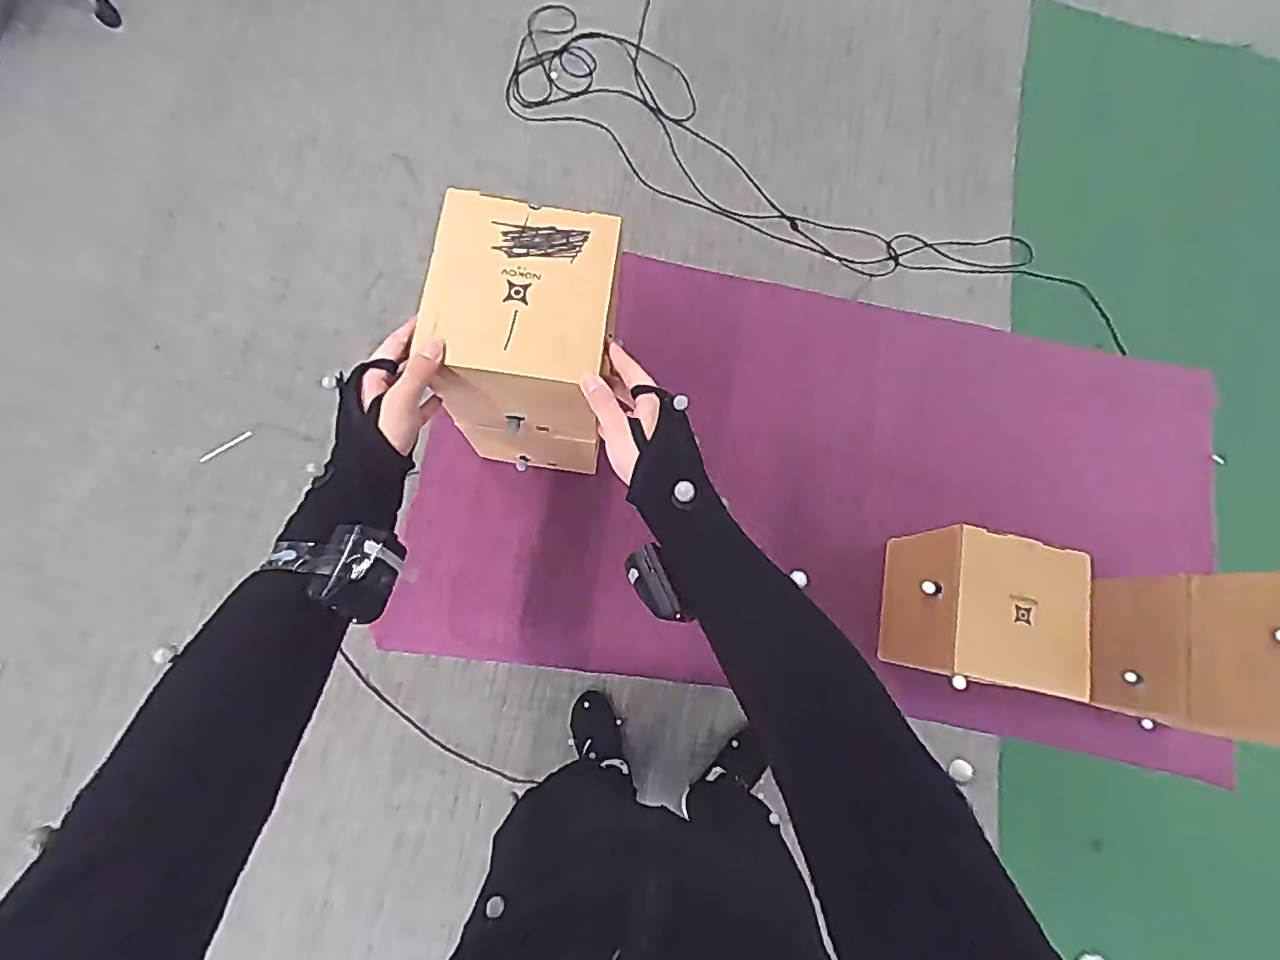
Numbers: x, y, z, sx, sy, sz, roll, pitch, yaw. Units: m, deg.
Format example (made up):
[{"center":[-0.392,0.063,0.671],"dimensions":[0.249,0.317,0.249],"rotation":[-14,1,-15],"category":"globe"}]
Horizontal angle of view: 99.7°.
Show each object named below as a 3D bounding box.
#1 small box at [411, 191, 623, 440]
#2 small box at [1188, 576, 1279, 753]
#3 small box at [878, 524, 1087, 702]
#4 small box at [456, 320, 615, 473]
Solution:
[{"center":[-0.114,-0.156,0.565],"dimensions":[0.168,0.176,0.179],"rotation":[8,78,-3],"category":"small box"},{"center":[0.725,0.200,0.557],"dimensions":[0.168,0.176,0.179],"rotation":[15,75,0],"category":"small box"},{"center":[0.435,0.172,0.709],"dimensions":[0.168,0.176,0.179],"rotation":[13,74,-2],"category":"small box"},{"center":[-0.129,-0.120,0.724],"dimensions":[0.168,0.176,0.179],"rotation":[8,78,-3],"category":"small box"}]
